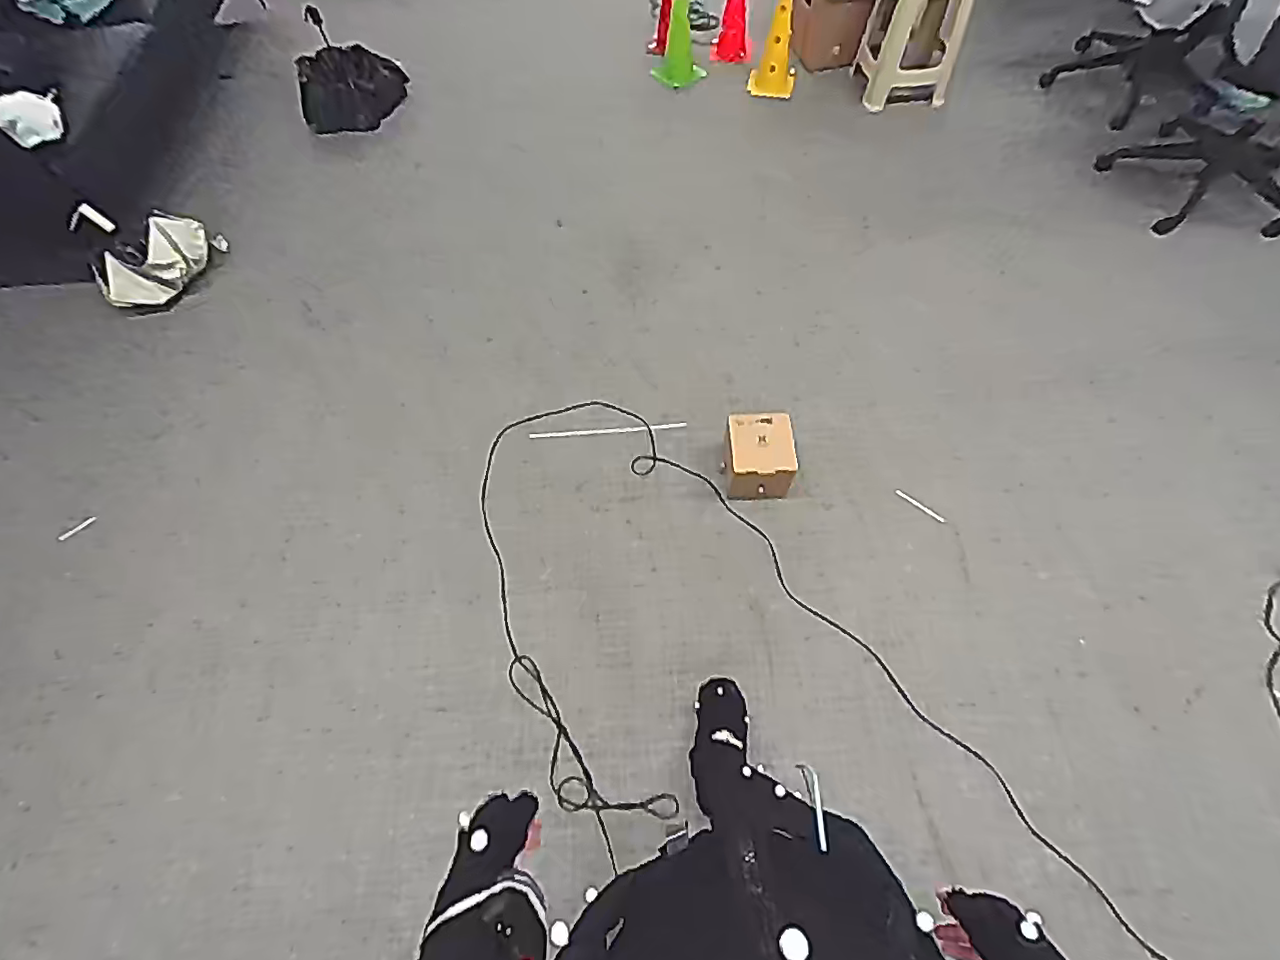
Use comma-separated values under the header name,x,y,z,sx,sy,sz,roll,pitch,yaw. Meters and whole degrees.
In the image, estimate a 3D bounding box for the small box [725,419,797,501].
name,x,y,z,sx,sy,sz,roll,pitch,yaw
small box,0.327,-0.049,1.485,0.168,0.176,0.179,-1,64,3
